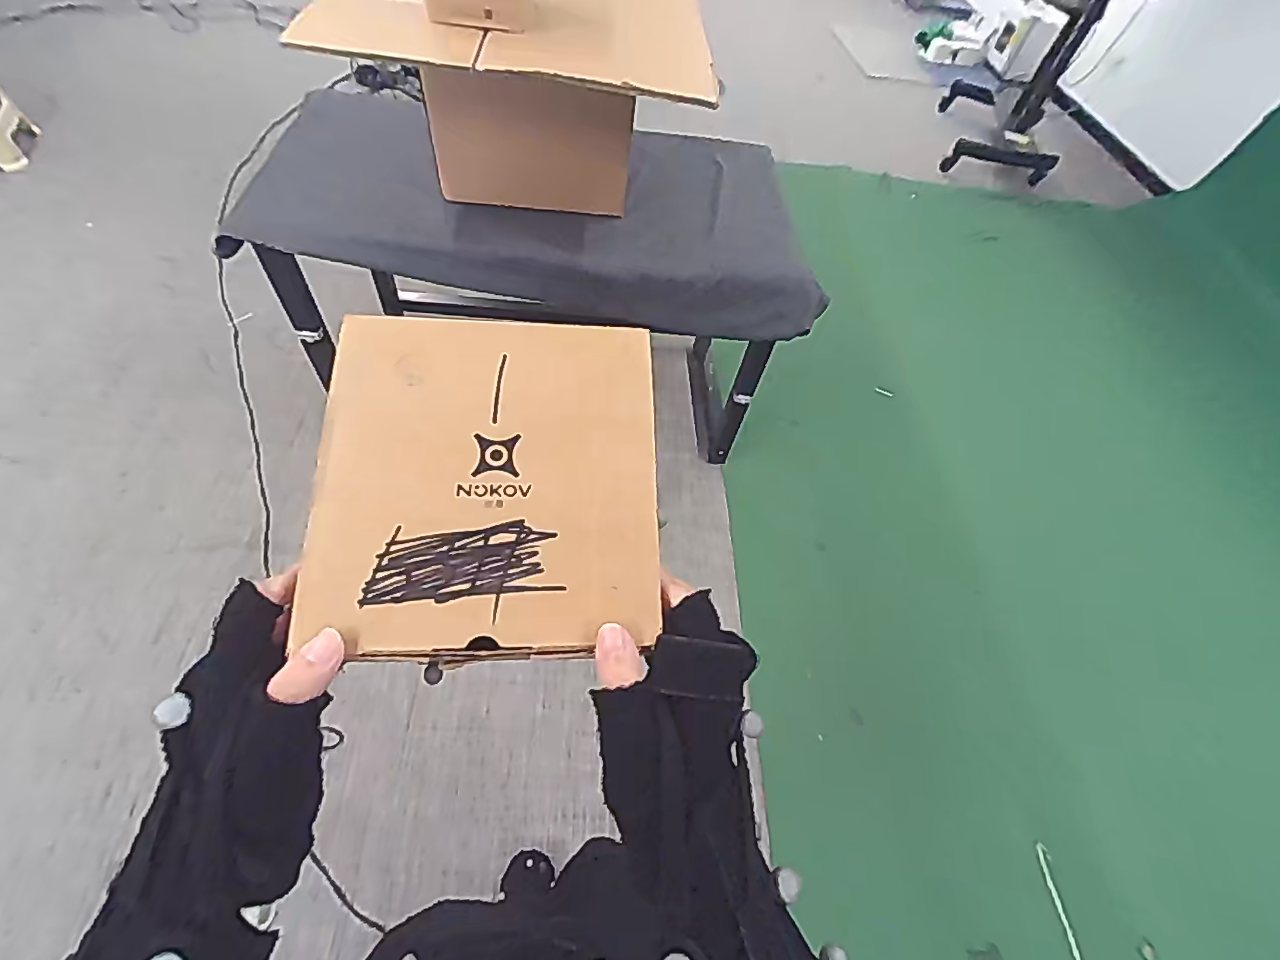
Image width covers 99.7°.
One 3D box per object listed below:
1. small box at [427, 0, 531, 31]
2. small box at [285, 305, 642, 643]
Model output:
[{"bbox_3d":[-0.276,-0.896,0.909,0.168,0.176,0.179,2,56,-6],"label":"small box"},{"bbox_3d":[-0.088,0.013,0.350,0.168,0.176,0.179,1,71,-7],"label":"small box"}]
